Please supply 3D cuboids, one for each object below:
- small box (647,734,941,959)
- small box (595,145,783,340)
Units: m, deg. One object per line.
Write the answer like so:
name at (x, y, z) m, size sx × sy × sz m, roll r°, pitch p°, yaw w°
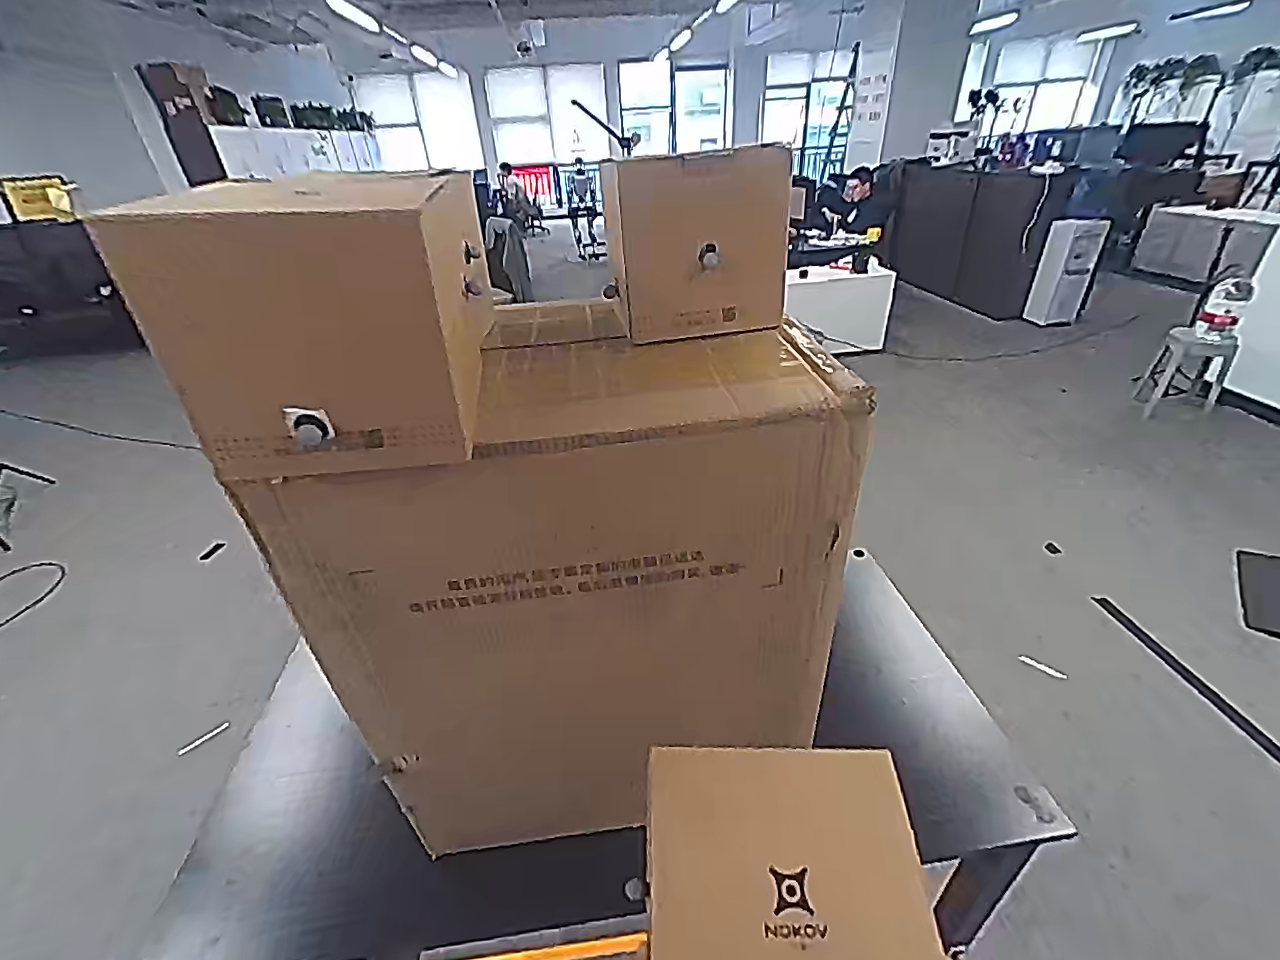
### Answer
small box at (0.089, 0.299, 0.386) m, size 0.168 × 0.176 × 0.179 m, roll 0°, pitch 49°, yaw 1°
small box at (0.048, -0.261, 0.598) m, size 0.168 × 0.176 × 0.179 m, roll -9°, pitch 32°, yaw -5°
